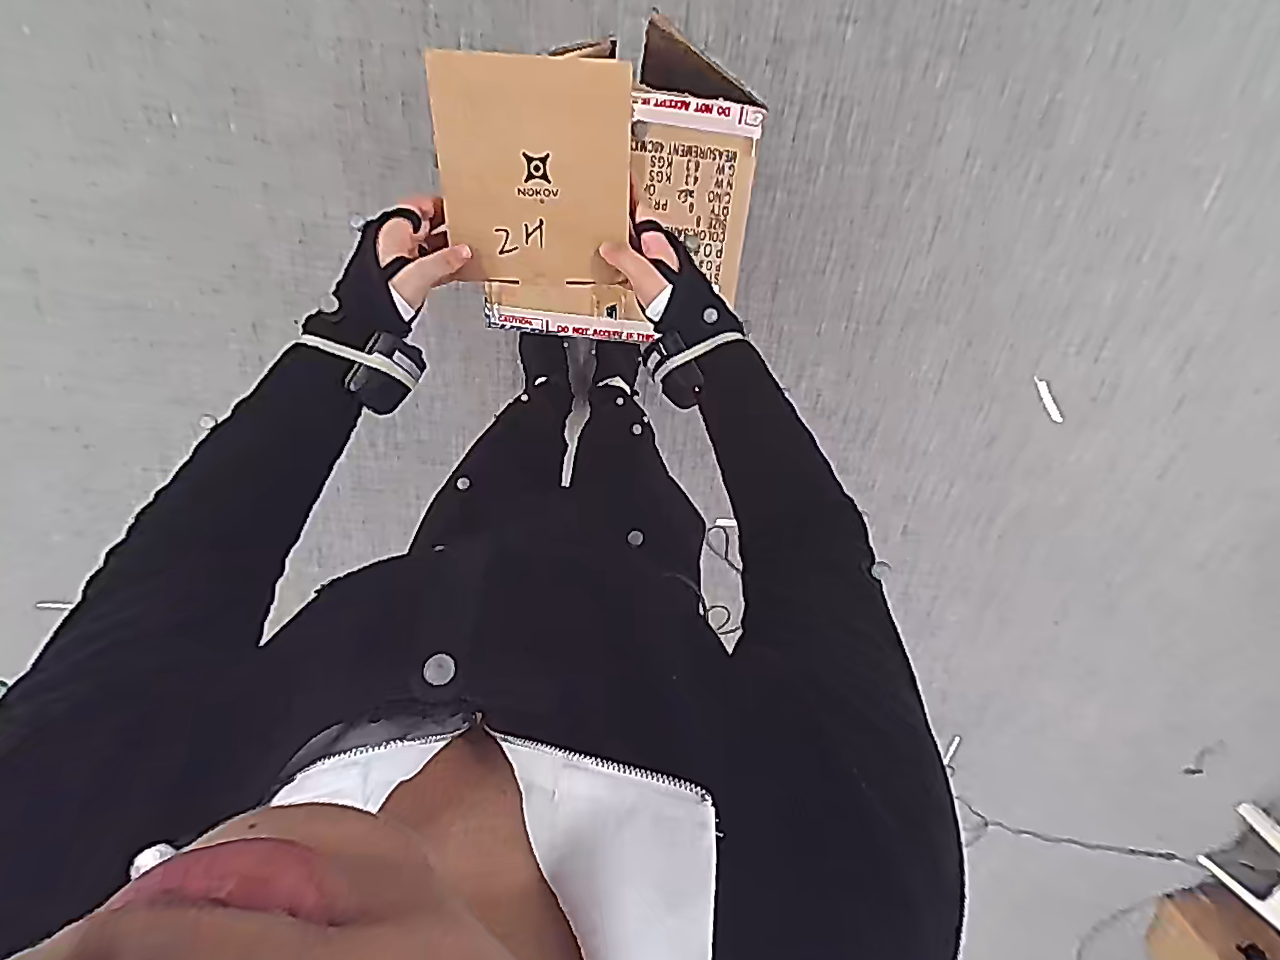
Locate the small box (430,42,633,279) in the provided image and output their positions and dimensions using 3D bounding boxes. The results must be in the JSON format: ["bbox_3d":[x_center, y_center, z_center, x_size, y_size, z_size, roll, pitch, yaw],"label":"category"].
[{"bbox_3d":[-0.099,-0.311,0.545,0.168,0.176,0.179,0,120,-5],"label":"small box"}]
